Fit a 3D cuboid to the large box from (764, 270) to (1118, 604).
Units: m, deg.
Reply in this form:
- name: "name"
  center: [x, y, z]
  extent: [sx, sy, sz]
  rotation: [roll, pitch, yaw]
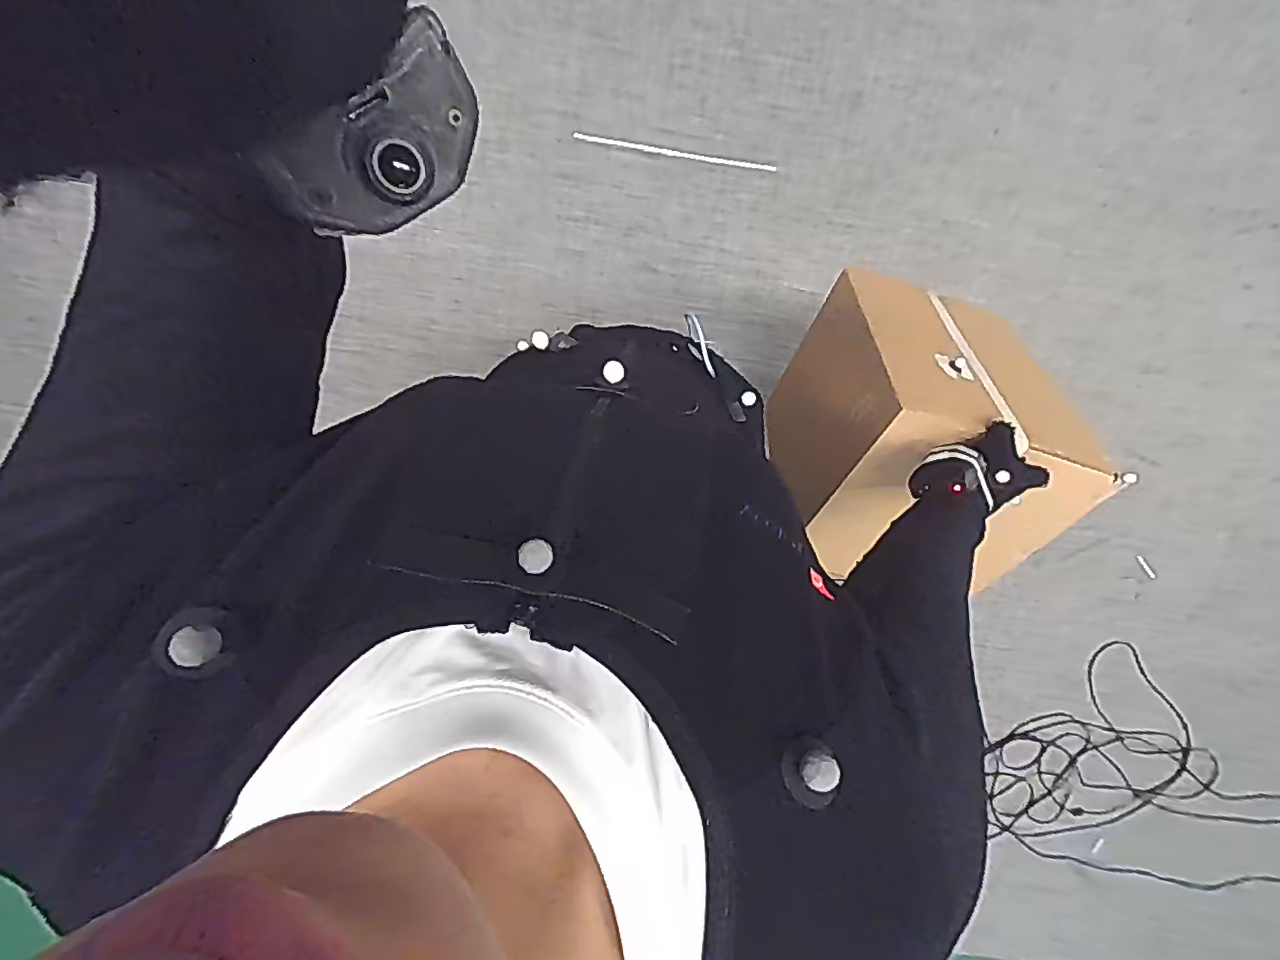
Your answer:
- name: "large box"
  center: [0.422, -0.074, 0.888]
  extent: [0.320, 0.408, 0.320]
  rotation: [16, 135, -7]
